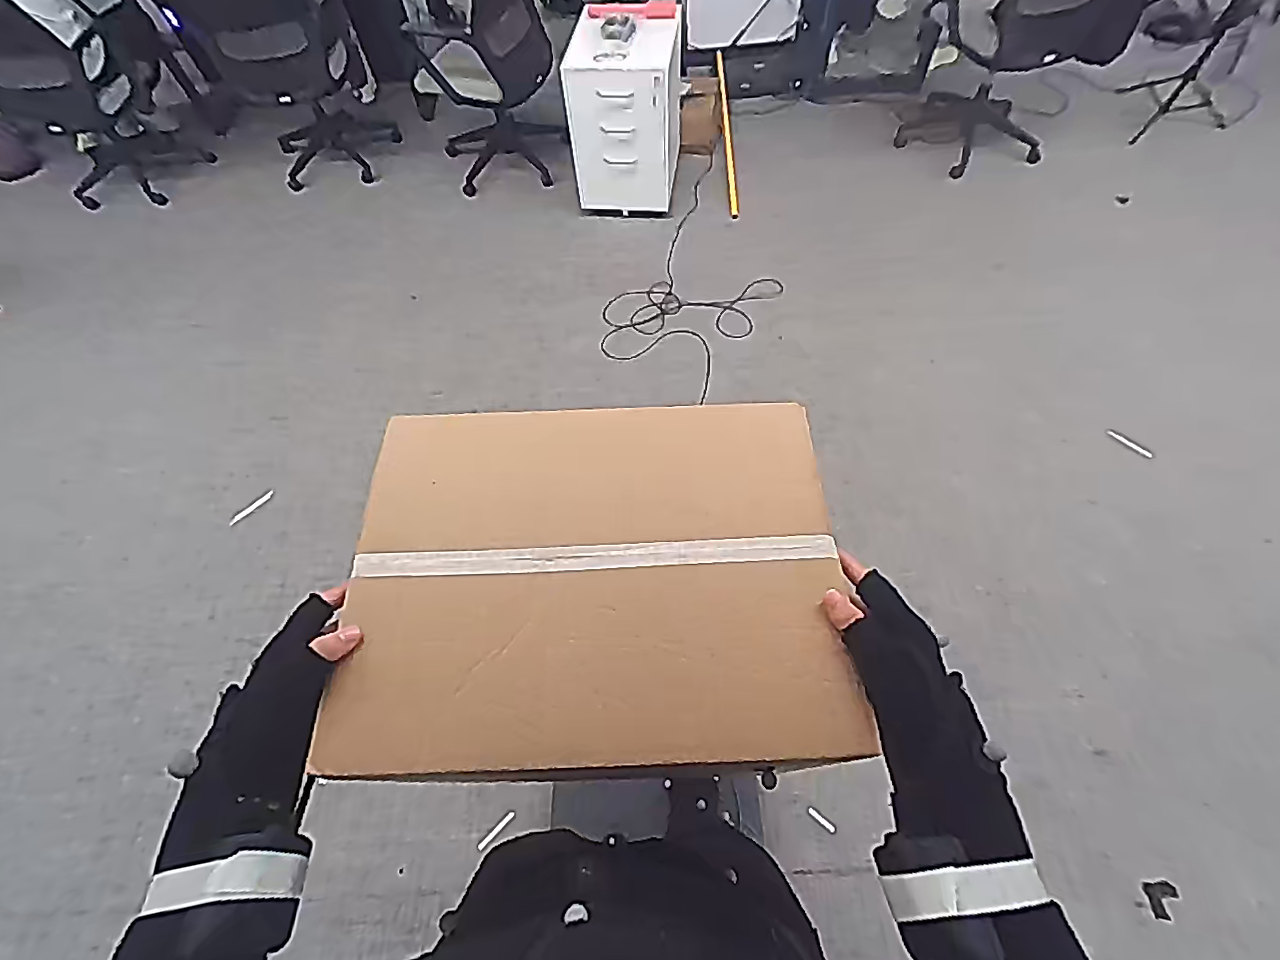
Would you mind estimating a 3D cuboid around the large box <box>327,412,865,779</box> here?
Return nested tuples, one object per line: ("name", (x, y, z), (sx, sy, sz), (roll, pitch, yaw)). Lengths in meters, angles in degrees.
("large box", (-0.034, 0.145, 0.596), (0.408, 0.320, 0.320), (-2, 60, -1))
